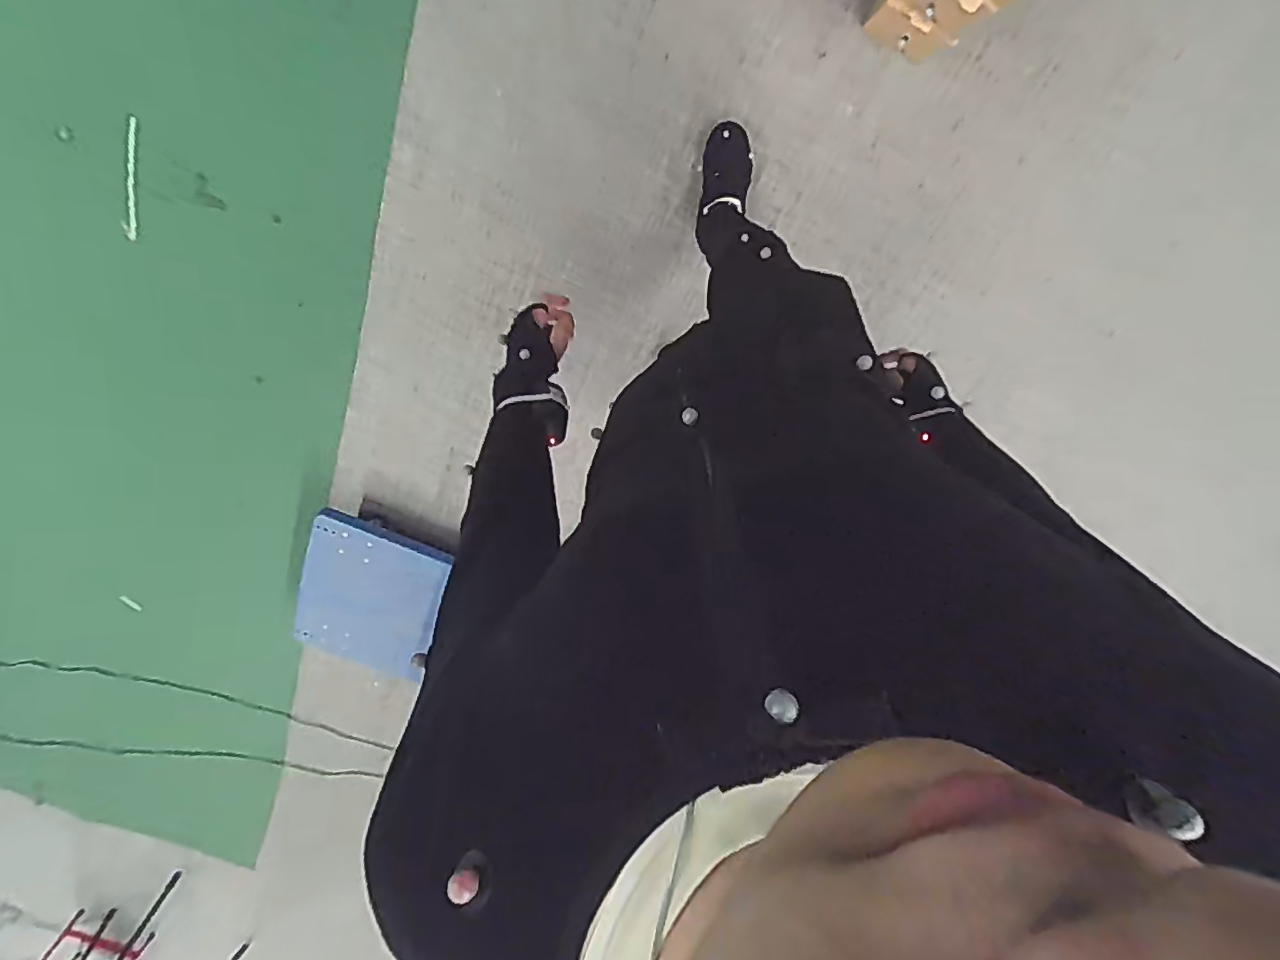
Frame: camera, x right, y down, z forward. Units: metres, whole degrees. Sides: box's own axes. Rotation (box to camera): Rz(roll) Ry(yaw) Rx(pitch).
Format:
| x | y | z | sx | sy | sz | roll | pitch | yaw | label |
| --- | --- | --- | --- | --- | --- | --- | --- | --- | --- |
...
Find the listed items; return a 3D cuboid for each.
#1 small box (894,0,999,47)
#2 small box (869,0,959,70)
| x | y | z | sx | sy | sz | roll | pitch | yaw | label |
| --- | --- | --- | --- | --- | --- | --- | --- | --- | --- |
| 0.584 | -0.917 | 0.945 | 0.168 | 0.176 | 0.179 | 30 | 115 | -8 | small box |
| 0.593 | -0.980 | 1.097 | 0.168 | 0.176 | 0.179 | 25 | 116 | -7 | small box |
